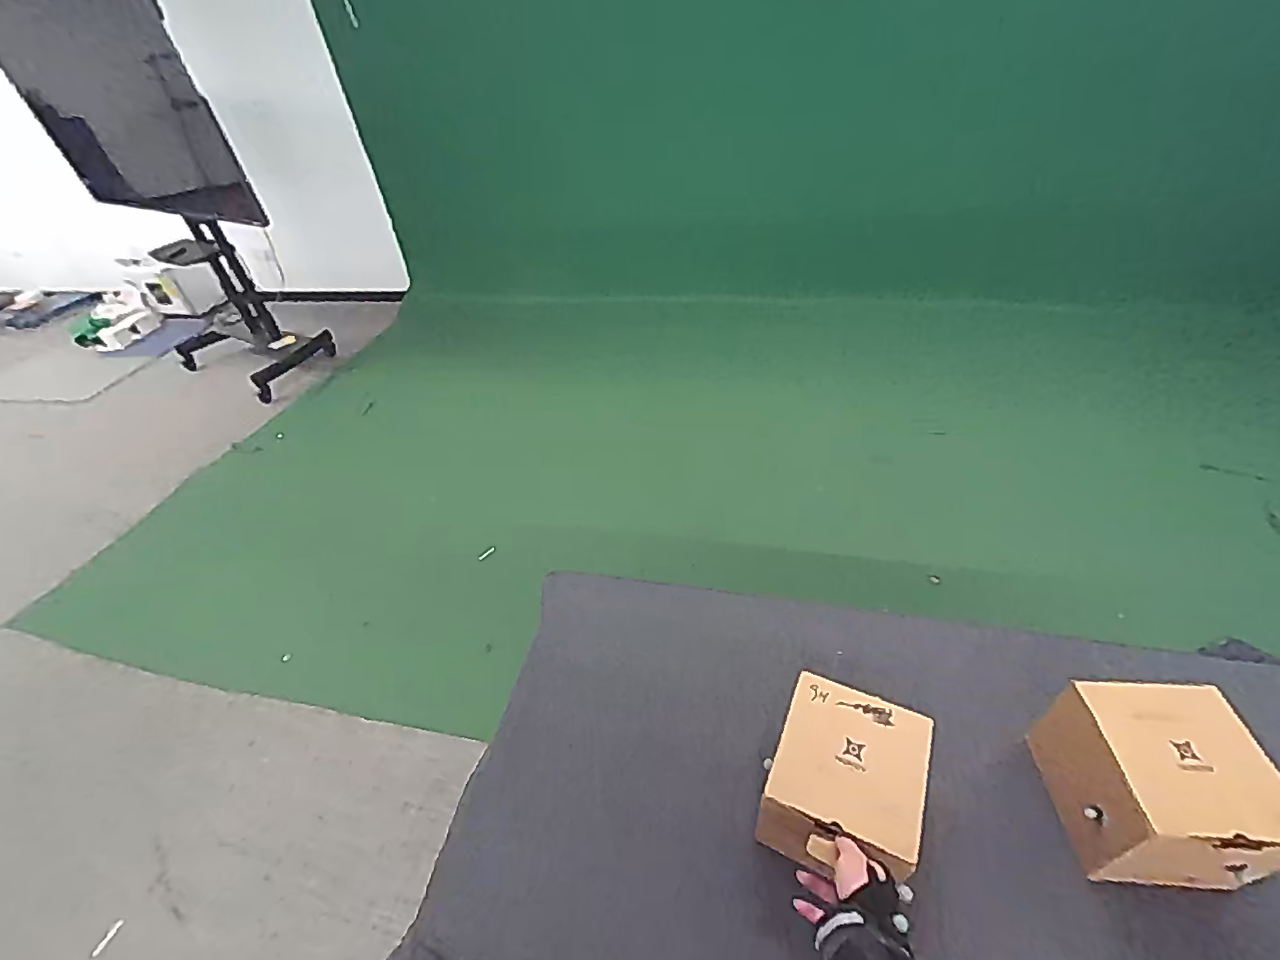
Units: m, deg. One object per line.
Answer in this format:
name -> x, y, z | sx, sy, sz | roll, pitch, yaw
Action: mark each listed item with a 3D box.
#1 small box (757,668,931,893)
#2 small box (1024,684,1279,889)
small box -> 0.257, 0.389, 0.703 | 0.168, 0.176, 0.179 | 17, 46, 23
small box -> 0.628, 0.380, 0.672 | 0.168, 0.176, 0.179 | 1, 40, 6
